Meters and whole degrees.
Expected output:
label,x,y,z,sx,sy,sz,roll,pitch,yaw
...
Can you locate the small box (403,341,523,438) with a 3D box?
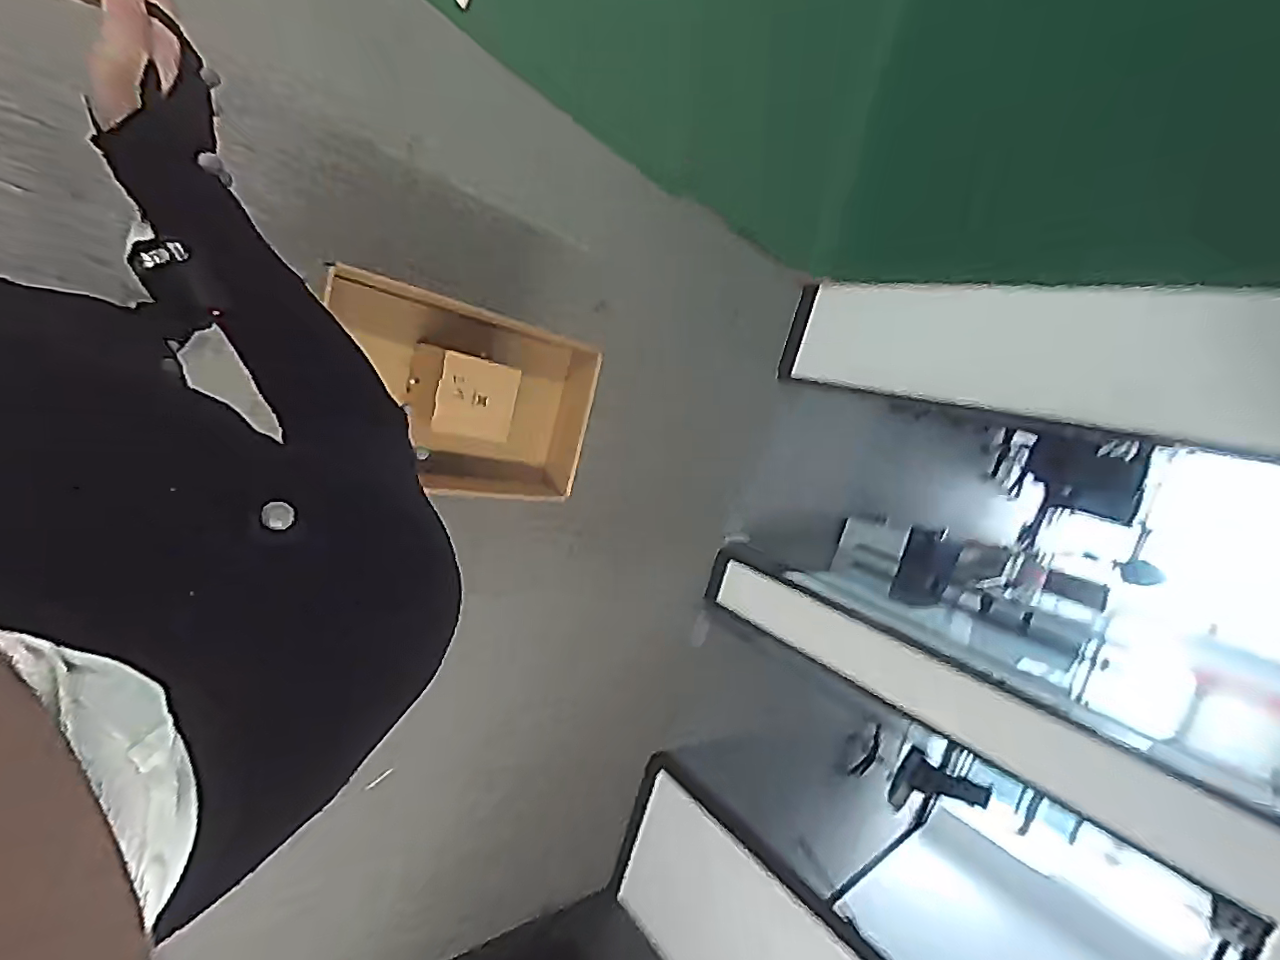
label,x,y,z,sx,sy,sz,roll,pitch,yaw
small box,-0.390,-0.200,1.184,0.179,0.176,0.168,7,100,-45
